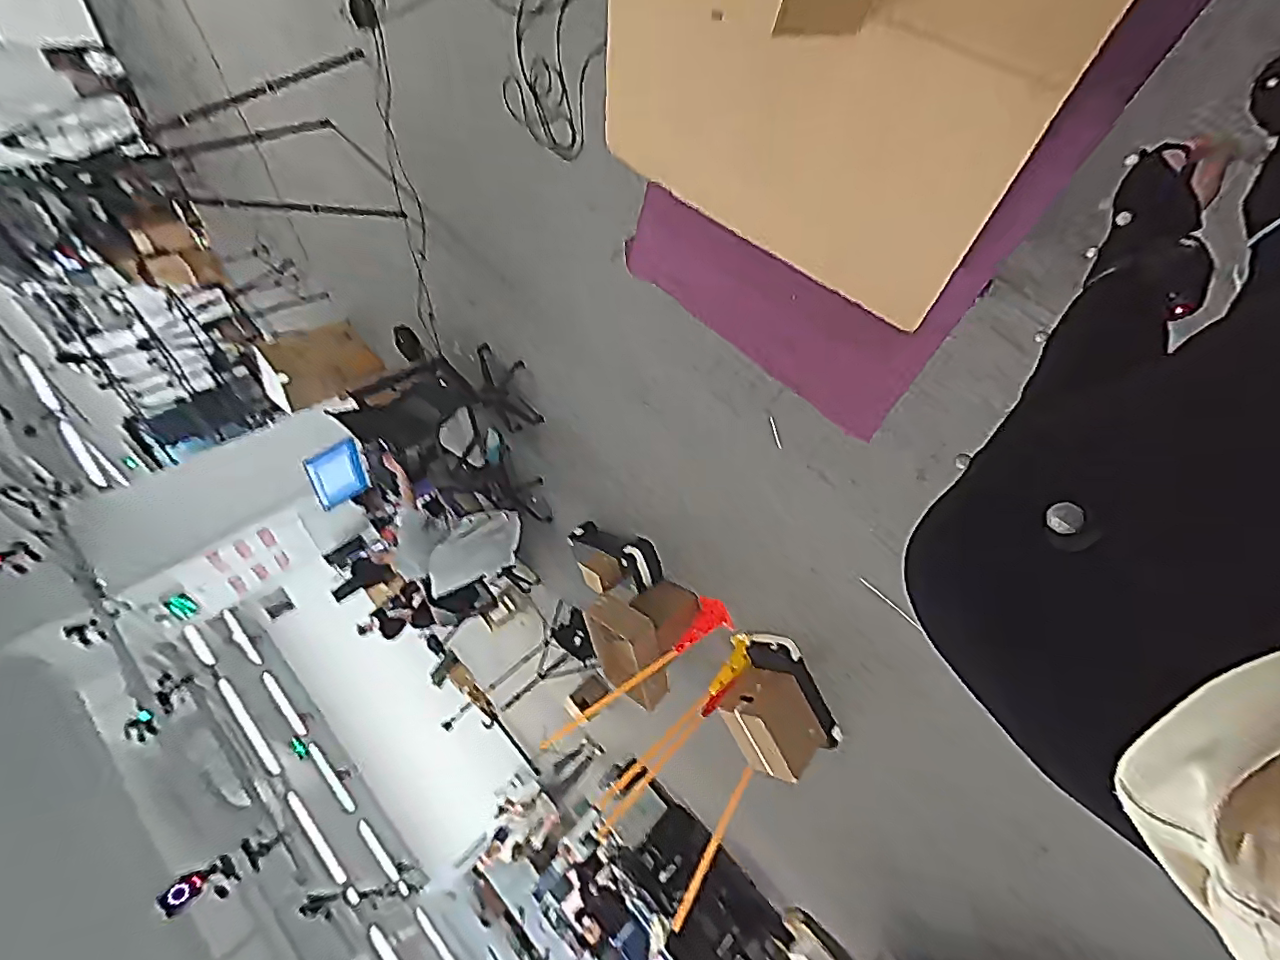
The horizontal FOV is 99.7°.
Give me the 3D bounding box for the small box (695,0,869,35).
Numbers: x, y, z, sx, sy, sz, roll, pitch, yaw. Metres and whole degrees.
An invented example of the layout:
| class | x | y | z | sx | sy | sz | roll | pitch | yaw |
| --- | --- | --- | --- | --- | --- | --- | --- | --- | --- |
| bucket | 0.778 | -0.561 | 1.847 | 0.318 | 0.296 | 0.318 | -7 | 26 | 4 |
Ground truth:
| class | x | y | z | sx | sy | sz | roll | pitch | yaw |
| --- | --- | --- | --- | --- | --- | --- | --- | --- | --- |
| small box | 0.132 | -0.543 | 0.502 | 0.179 | 0.176 | 0.168 | 42 | 144 | 18 |
